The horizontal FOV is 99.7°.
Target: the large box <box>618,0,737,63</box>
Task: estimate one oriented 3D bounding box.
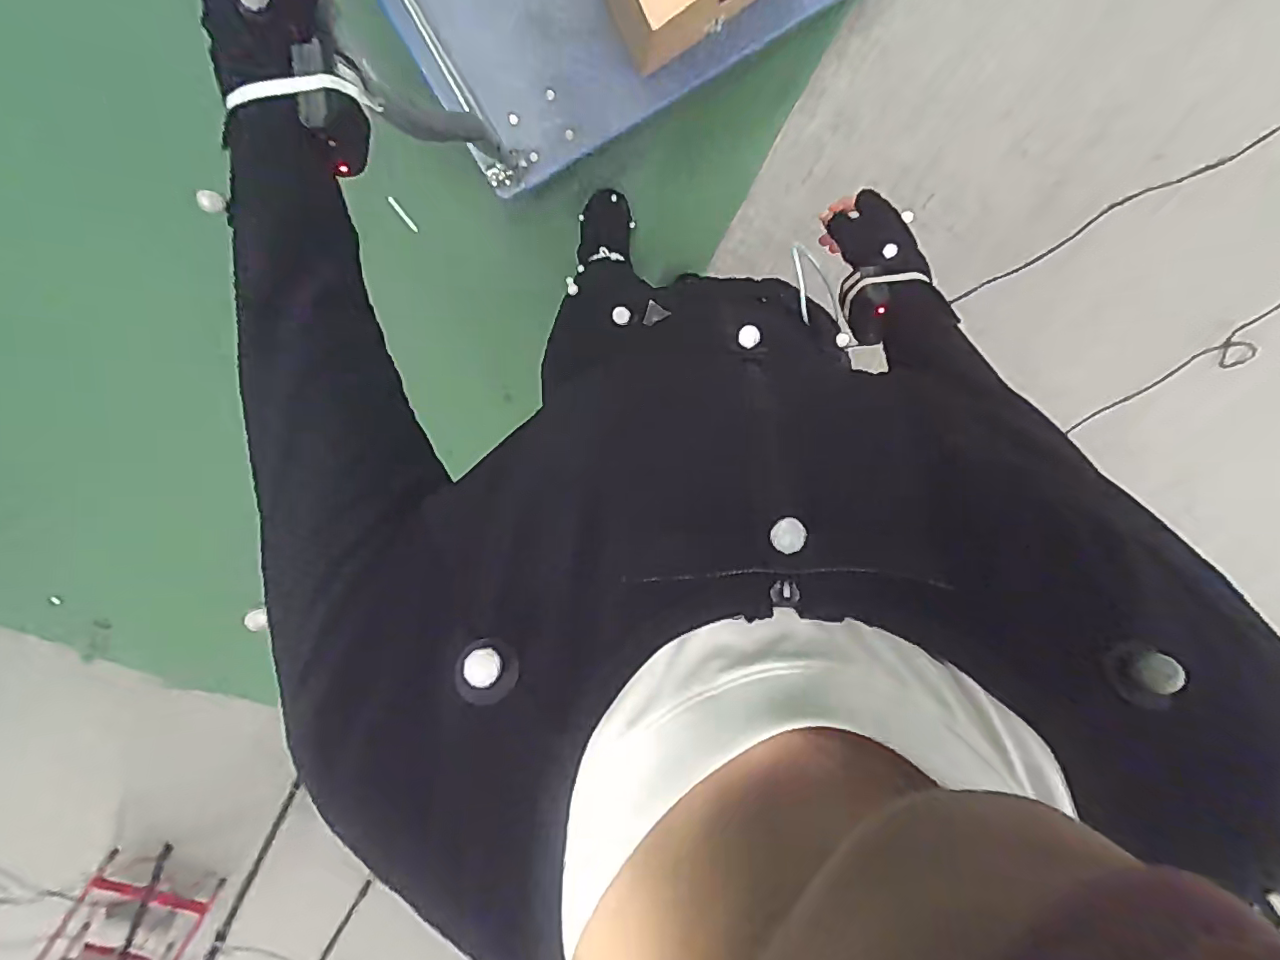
[{"bbox_3d":[0.049,-0.913,0.752,0.320,0.320,0.408,-28,115,11],"label":"large box"}]
